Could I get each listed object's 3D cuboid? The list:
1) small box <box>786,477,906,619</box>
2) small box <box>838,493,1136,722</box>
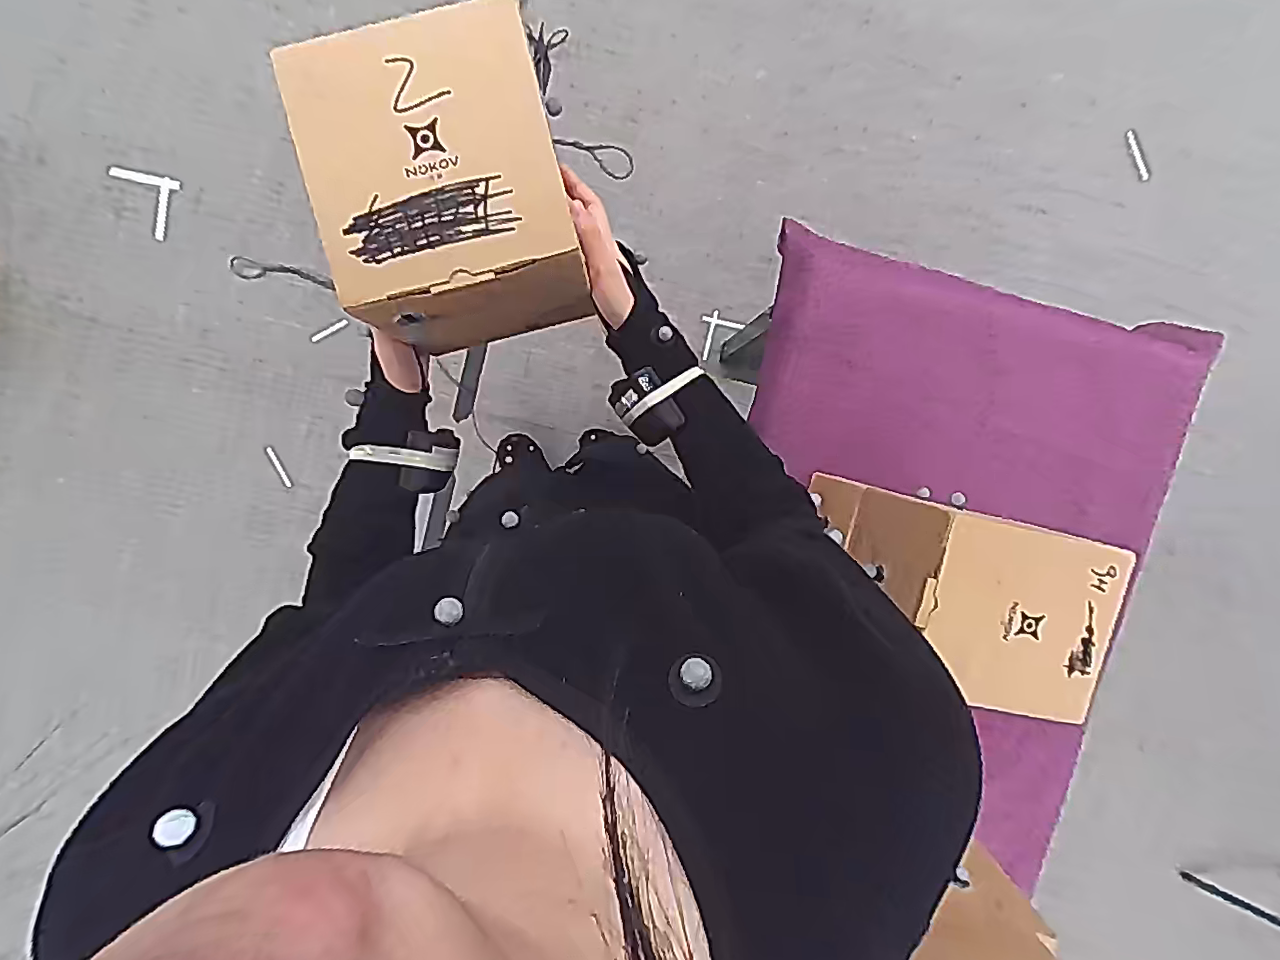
[{"bbox_3d":[0.316,0.097,0.718,0.179,0.176,0.168,15,95,-5],"label":"small box"},{"bbox_3d":[0.331,0.114,0.555,0.179,0.176,0.168,12,95,-4],"label":"small box"}]
